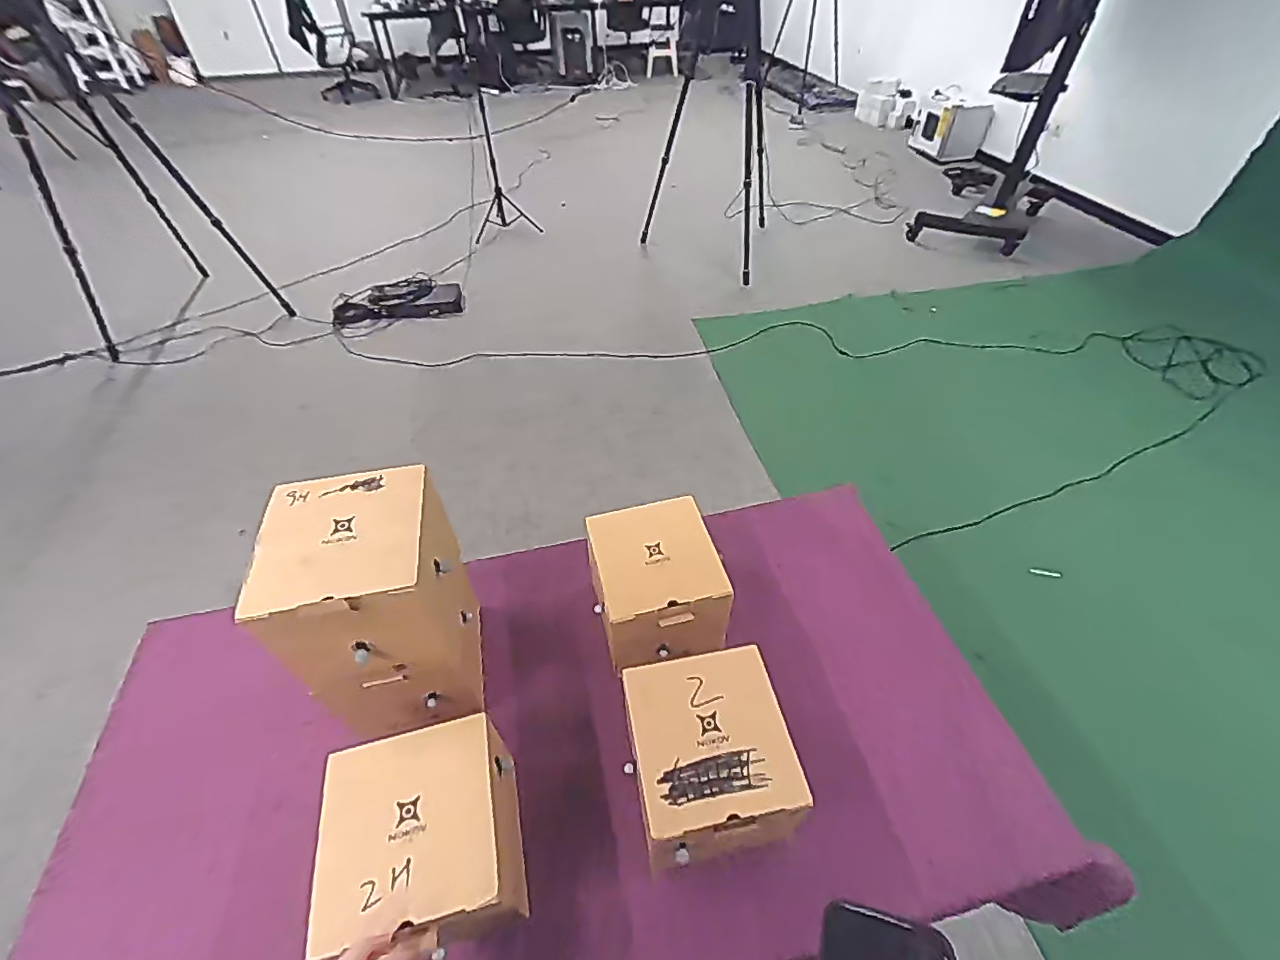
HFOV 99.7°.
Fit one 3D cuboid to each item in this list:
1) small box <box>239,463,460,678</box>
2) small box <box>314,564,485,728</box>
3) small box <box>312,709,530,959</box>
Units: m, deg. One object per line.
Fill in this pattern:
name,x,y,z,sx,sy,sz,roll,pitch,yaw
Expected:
small box,-0.310,0.110,0.624,0.168,0.176,0.179,-9,48,-9
small box,-0.314,0.221,0.745,0.168,0.176,0.179,-10,48,-9
small box,-0.222,0.385,0.589,0.168,0.176,0.179,-12,48,-9
